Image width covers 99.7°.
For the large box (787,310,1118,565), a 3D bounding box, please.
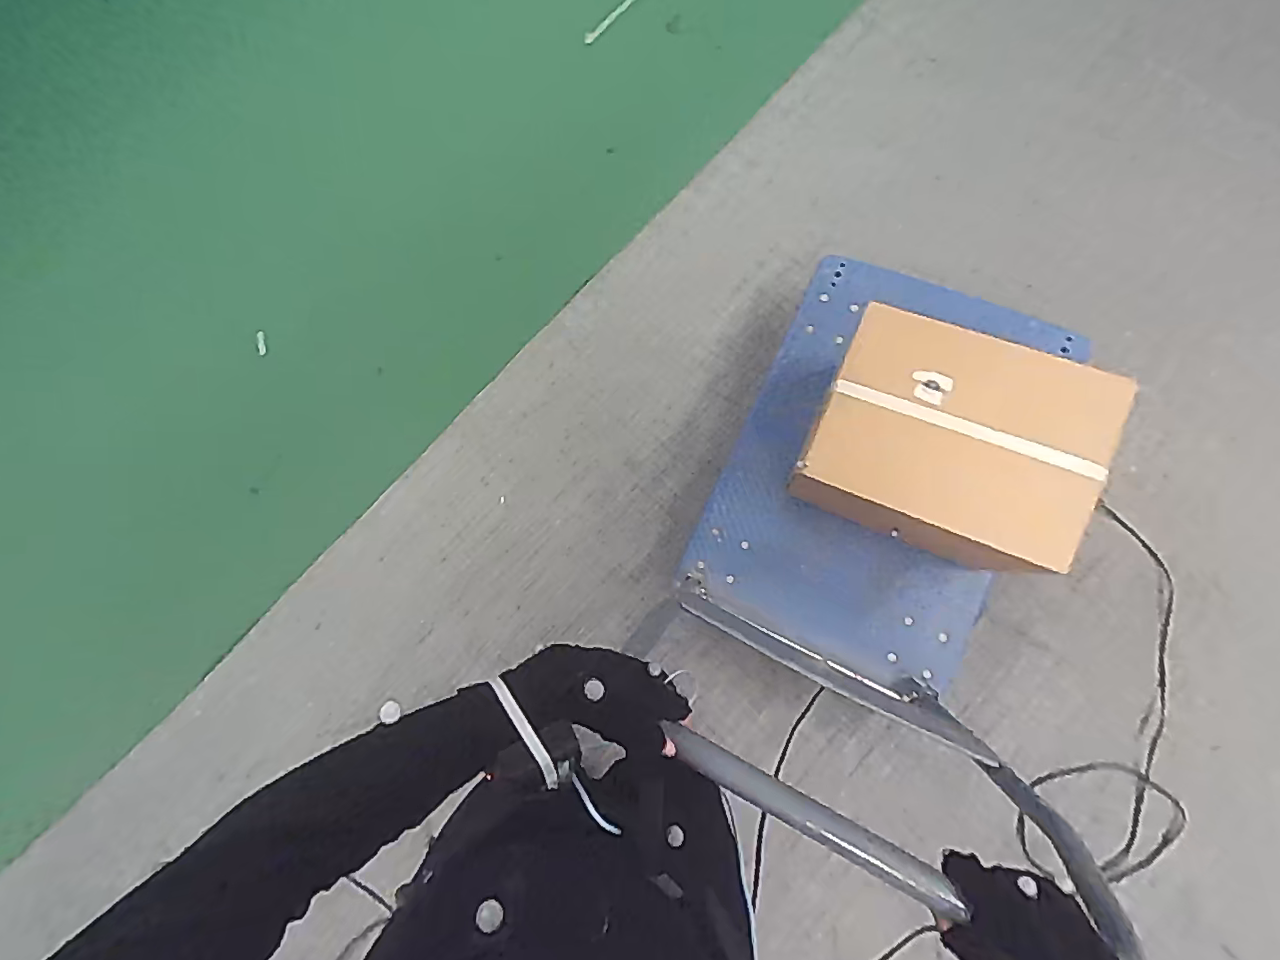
[{"bbox_3d":[0.523,-0.061,1.001,0.408,0.320,0.320,22,87,14],"label":"large box"}]
